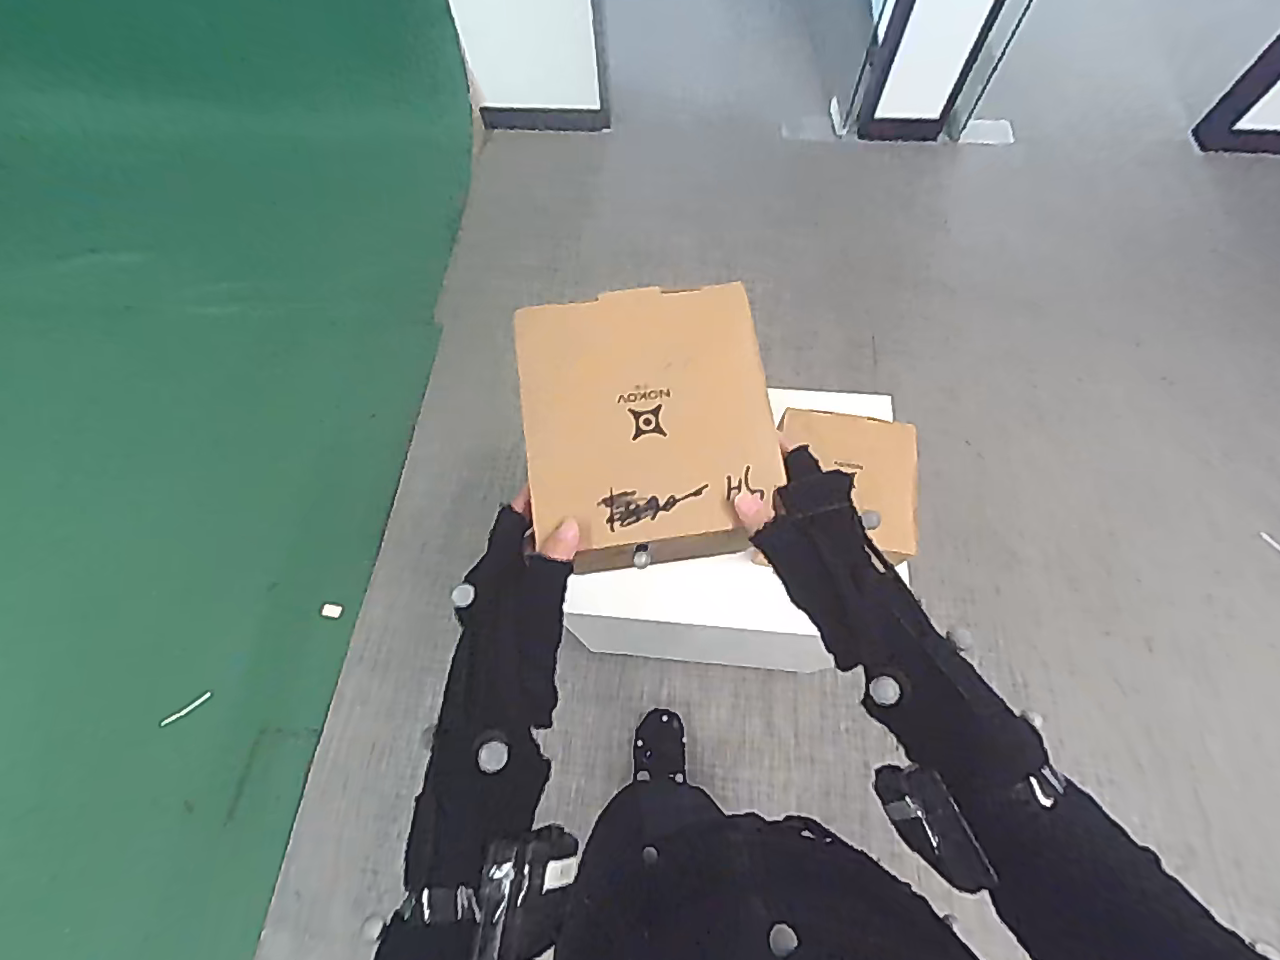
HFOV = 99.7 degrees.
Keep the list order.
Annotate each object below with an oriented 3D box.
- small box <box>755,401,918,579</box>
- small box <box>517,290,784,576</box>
[{"bbox_3d":[0.254,0.020,0.727,0.168,0.176,0.179,9,68,7],"label":"small box"},{"bbox_3d":[0.002,-0.025,0.445,0.168,0.176,0.179,-8,75,-2],"label":"small box"}]
